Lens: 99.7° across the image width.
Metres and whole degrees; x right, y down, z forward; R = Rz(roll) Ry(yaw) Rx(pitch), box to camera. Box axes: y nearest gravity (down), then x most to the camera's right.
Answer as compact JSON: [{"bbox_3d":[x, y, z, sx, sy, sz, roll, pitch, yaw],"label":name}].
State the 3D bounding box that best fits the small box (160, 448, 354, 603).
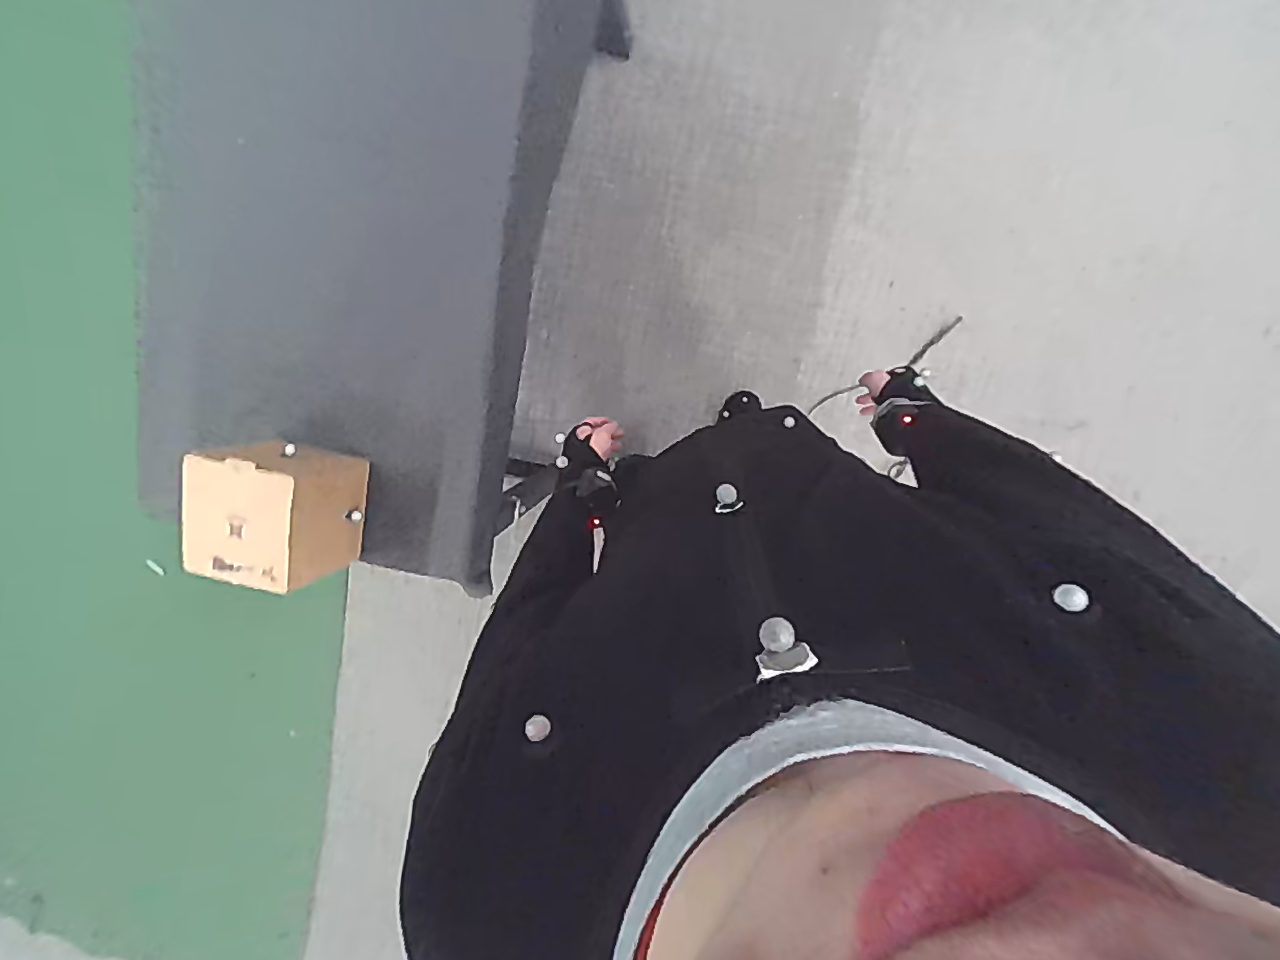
[{"bbox_3d":[-0.551,0.054,0.799,0.168,0.176,0.179,12,100,4],"label":"small box"}]
